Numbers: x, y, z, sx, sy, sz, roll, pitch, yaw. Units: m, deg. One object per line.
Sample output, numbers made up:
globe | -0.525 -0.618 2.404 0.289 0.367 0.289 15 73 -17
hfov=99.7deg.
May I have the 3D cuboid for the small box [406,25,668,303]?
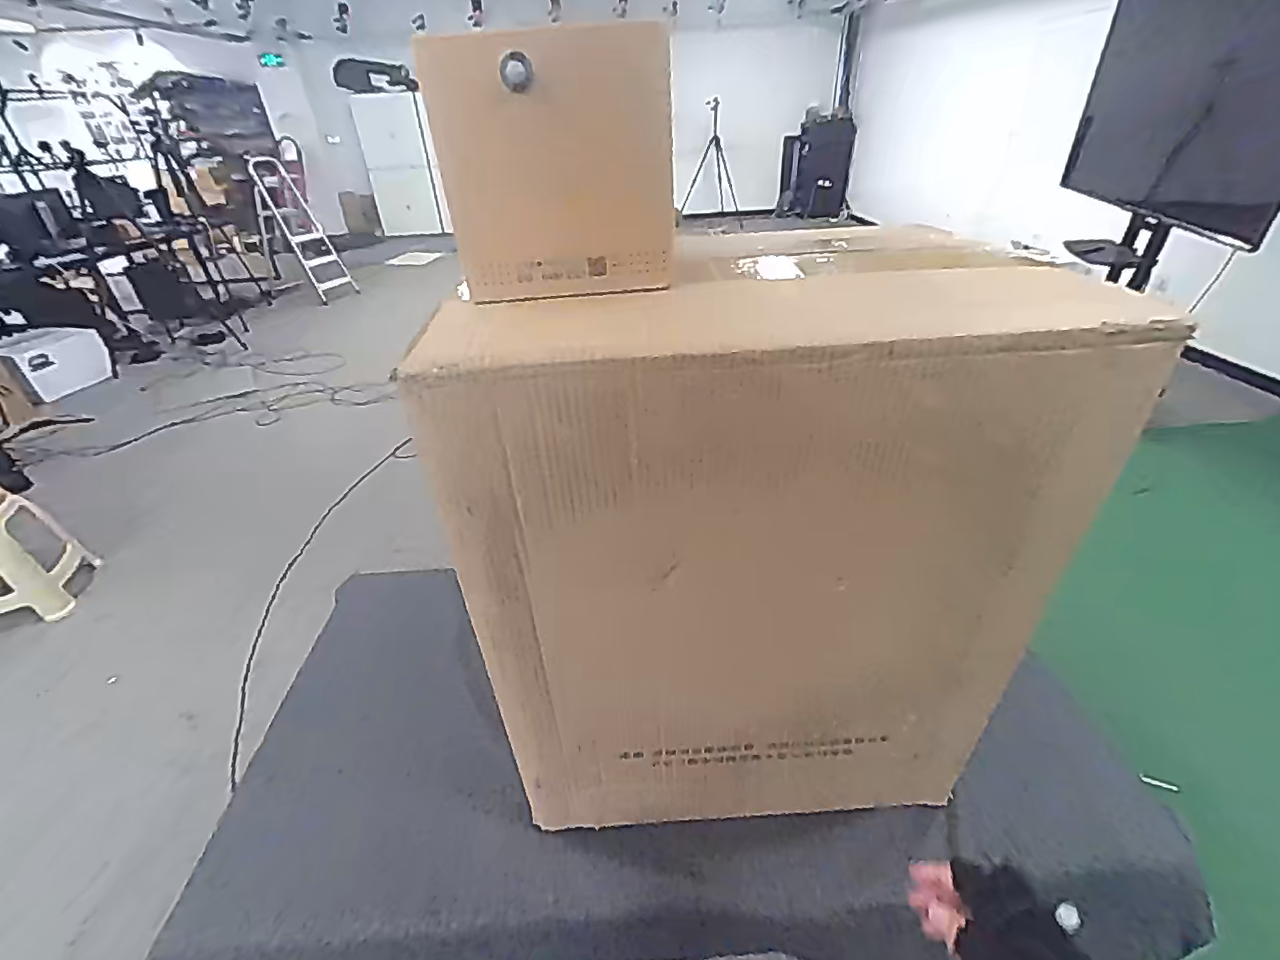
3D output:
small box | -0.068 -0.258 0.455 0.168 0.176 0.179 -6 35 -1
